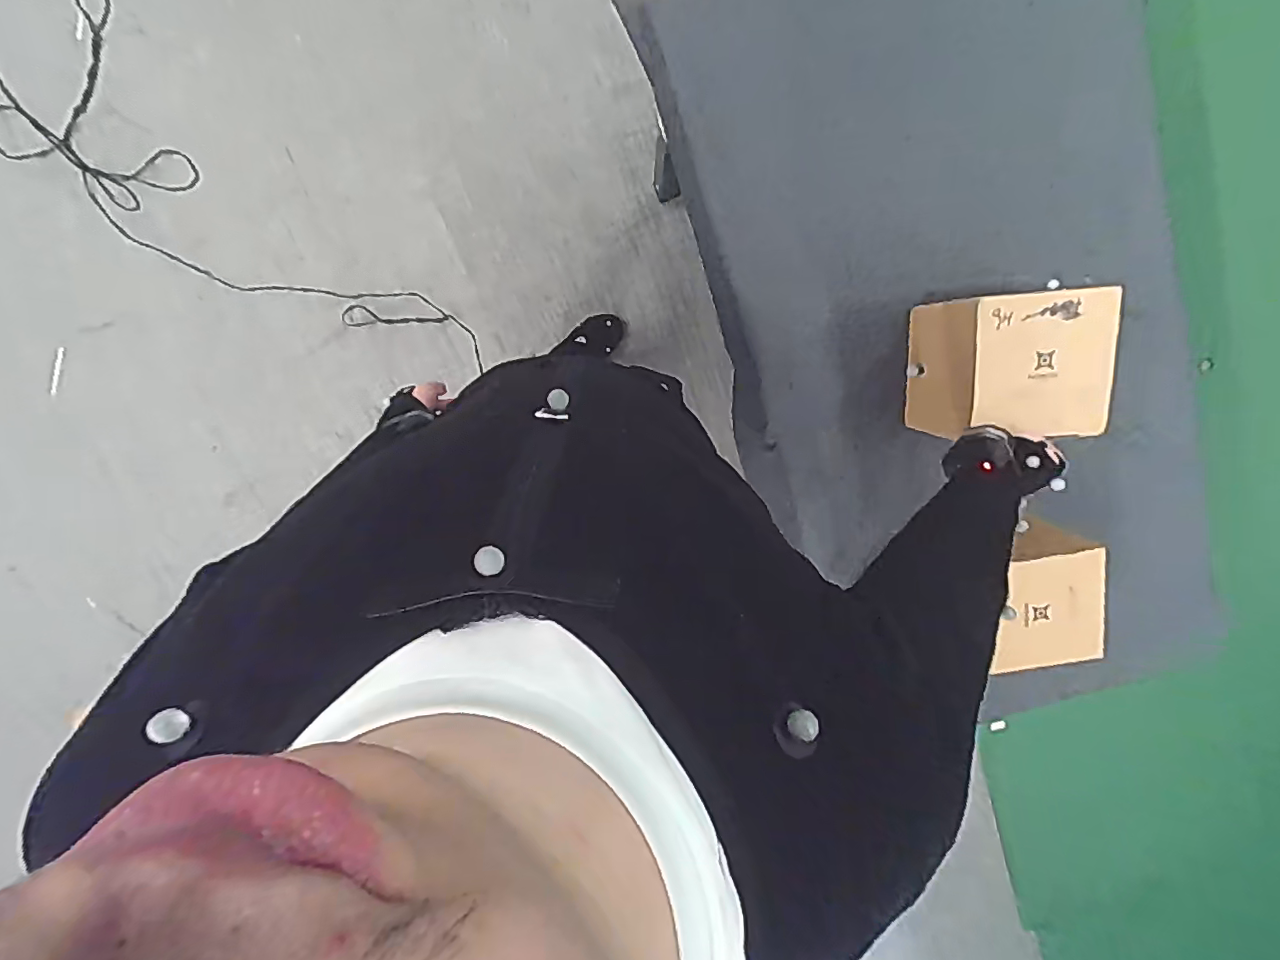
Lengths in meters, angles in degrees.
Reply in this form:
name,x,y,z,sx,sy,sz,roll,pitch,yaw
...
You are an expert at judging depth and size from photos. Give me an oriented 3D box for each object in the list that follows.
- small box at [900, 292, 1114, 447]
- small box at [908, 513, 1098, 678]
name,x,y,z,sx,sy,sz,roll,pitch,yaw
small box,0.466,-0.148,0.717,0.168,0.176,0.179,-4,104,0
small box,0.513,0.159,0.791,0.179,0.176,0.168,-10,105,1
